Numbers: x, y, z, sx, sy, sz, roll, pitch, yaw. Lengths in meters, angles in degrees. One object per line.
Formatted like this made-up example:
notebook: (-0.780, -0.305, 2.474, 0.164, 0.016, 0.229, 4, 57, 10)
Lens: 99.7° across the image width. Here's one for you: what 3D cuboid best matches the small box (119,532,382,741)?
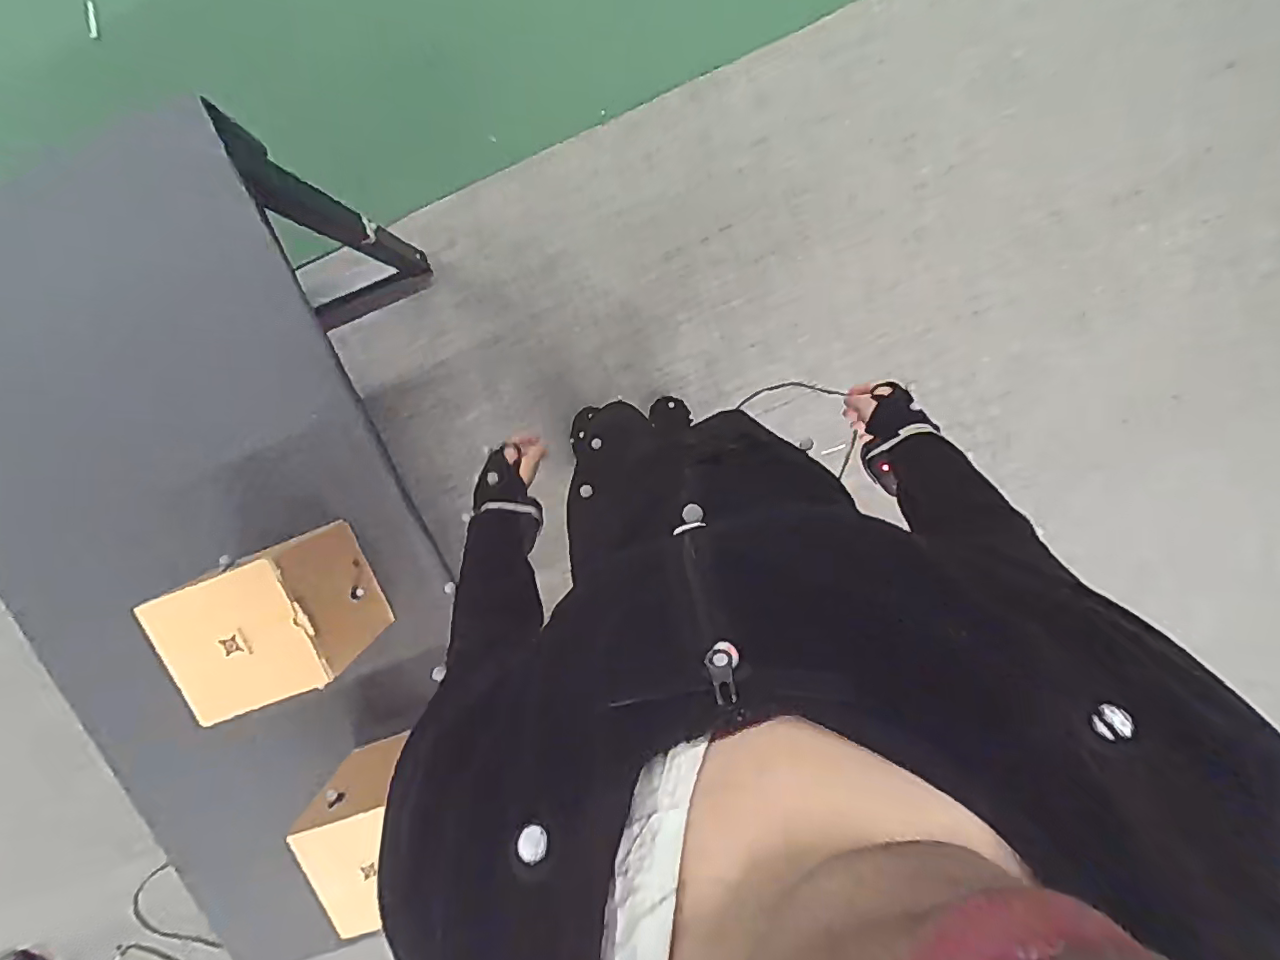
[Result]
small box: (-0.468, 0.183, 0.681, 0.179, 0.176, 0.168, -21, 99, 2)
